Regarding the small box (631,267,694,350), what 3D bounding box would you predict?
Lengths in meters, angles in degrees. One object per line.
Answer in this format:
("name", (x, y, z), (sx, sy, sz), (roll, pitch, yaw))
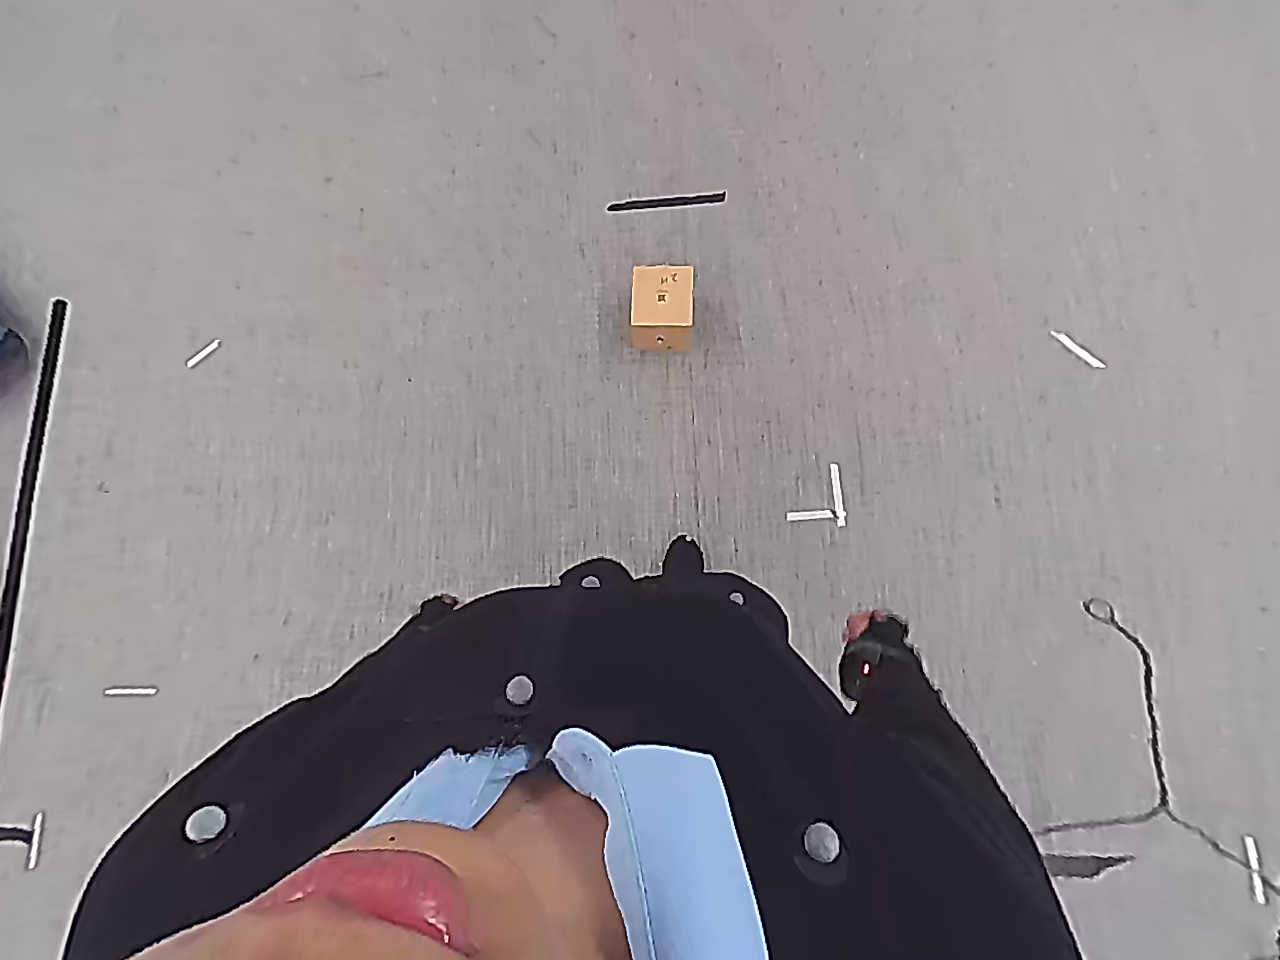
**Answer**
("small box", (0.066, -0.478, 1.525), (0.168, 0.176, 0.179), (2, 80, 4))
